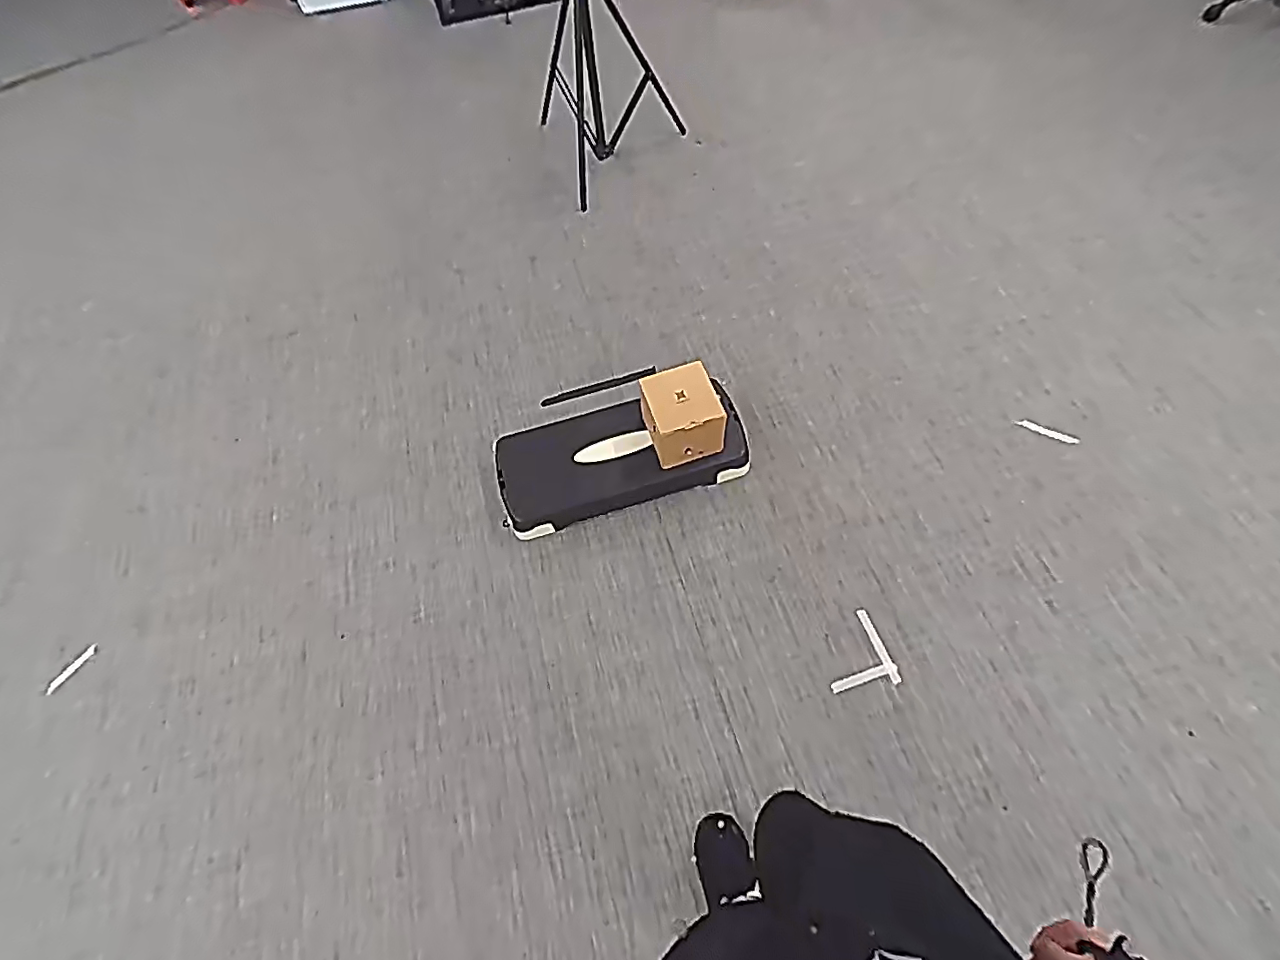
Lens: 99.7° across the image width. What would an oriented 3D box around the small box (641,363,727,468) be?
[{"bbox_3d":[0.106,-0.159,1.366,0.168,0.176,0.179,-18,64,-5],"label":"small box"}]
